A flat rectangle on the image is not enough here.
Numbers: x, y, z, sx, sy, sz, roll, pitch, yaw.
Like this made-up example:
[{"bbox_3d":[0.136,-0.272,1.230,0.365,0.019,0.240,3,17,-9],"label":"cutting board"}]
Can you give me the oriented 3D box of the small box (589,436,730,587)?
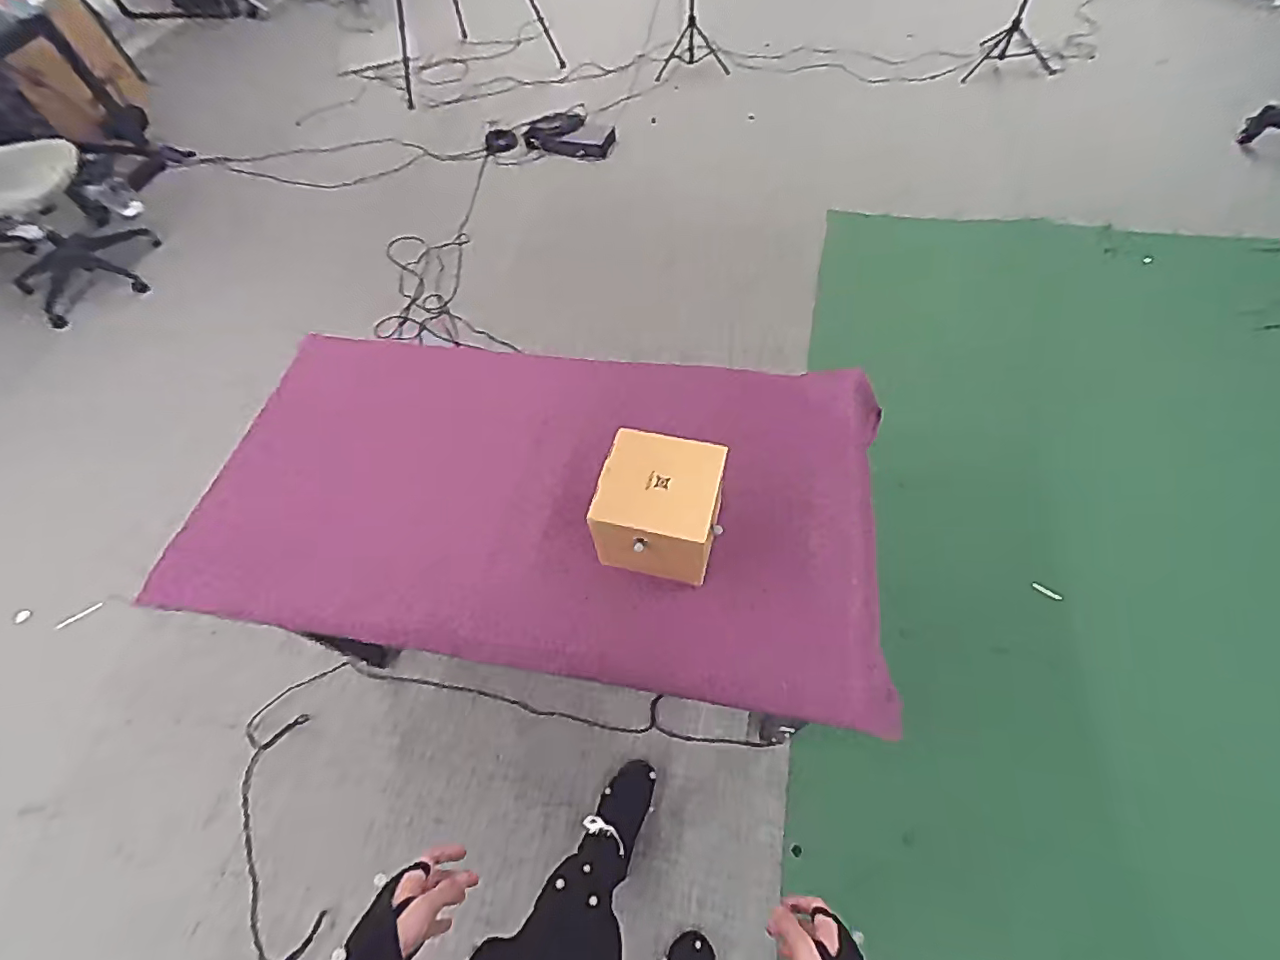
[{"bbox_3d":[0.036,0.056,0.859,0.179,0.176,0.168,11,60,12],"label":"small box"}]
